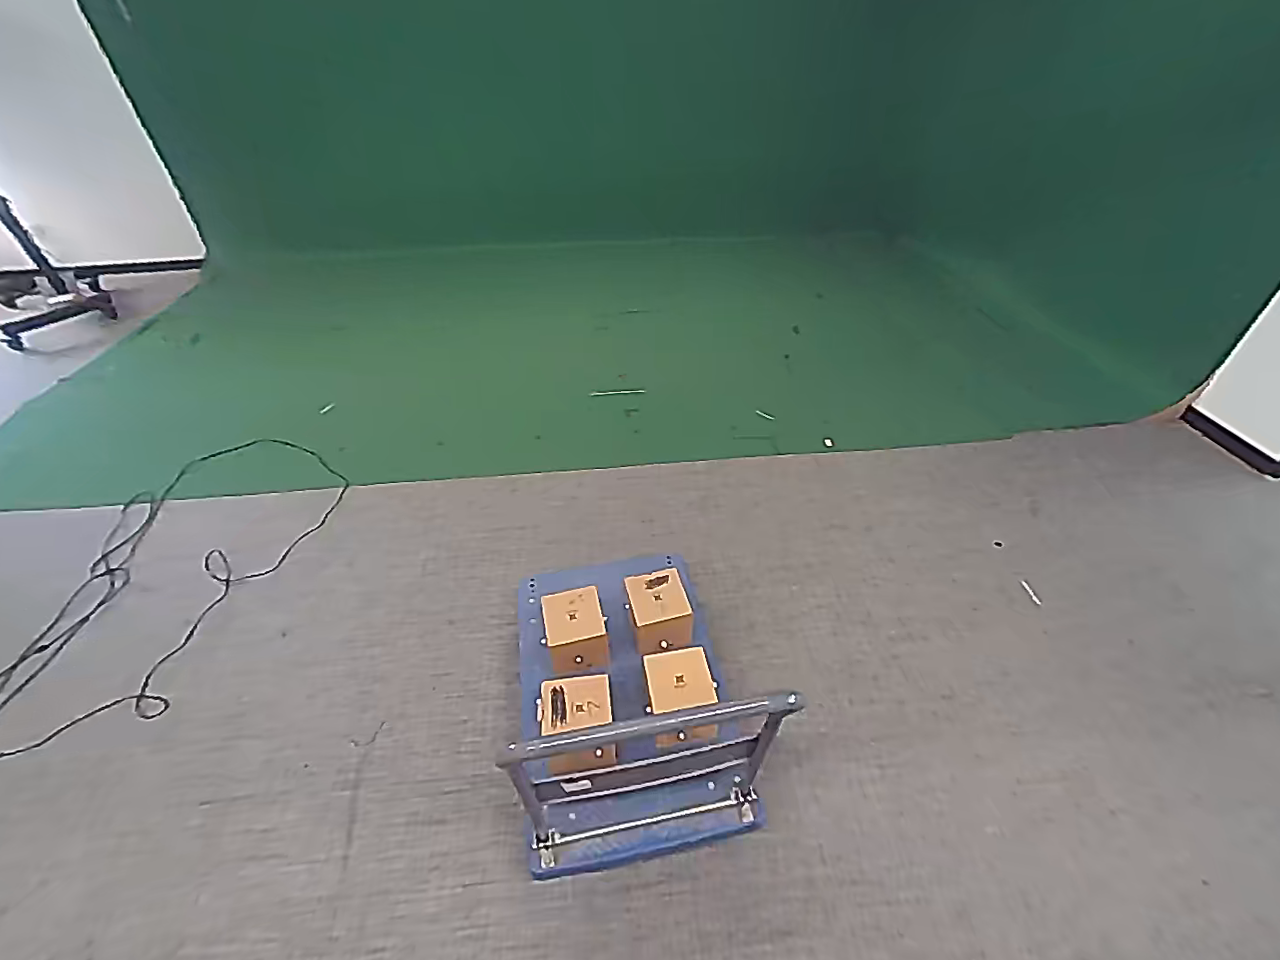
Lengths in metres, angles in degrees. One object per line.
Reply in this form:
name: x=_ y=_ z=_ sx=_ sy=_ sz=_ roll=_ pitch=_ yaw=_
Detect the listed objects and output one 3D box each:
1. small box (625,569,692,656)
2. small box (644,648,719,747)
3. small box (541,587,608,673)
small box: x=0.053 y=0.402 z=1.641 sx=0.168 sy=0.176 sz=0.179 roll=-11 pitch=44 yaw=-9
small box: x=0.104 y=0.581 z=1.444 sx=0.168 sy=0.176 sz=0.179 roll=-7 pitch=43 yaw=-7
small box: x=-0.192 y=0.448 z=1.596 sx=0.168 sy=0.176 sz=0.179 roll=-10 pitch=43 yaw=-10
